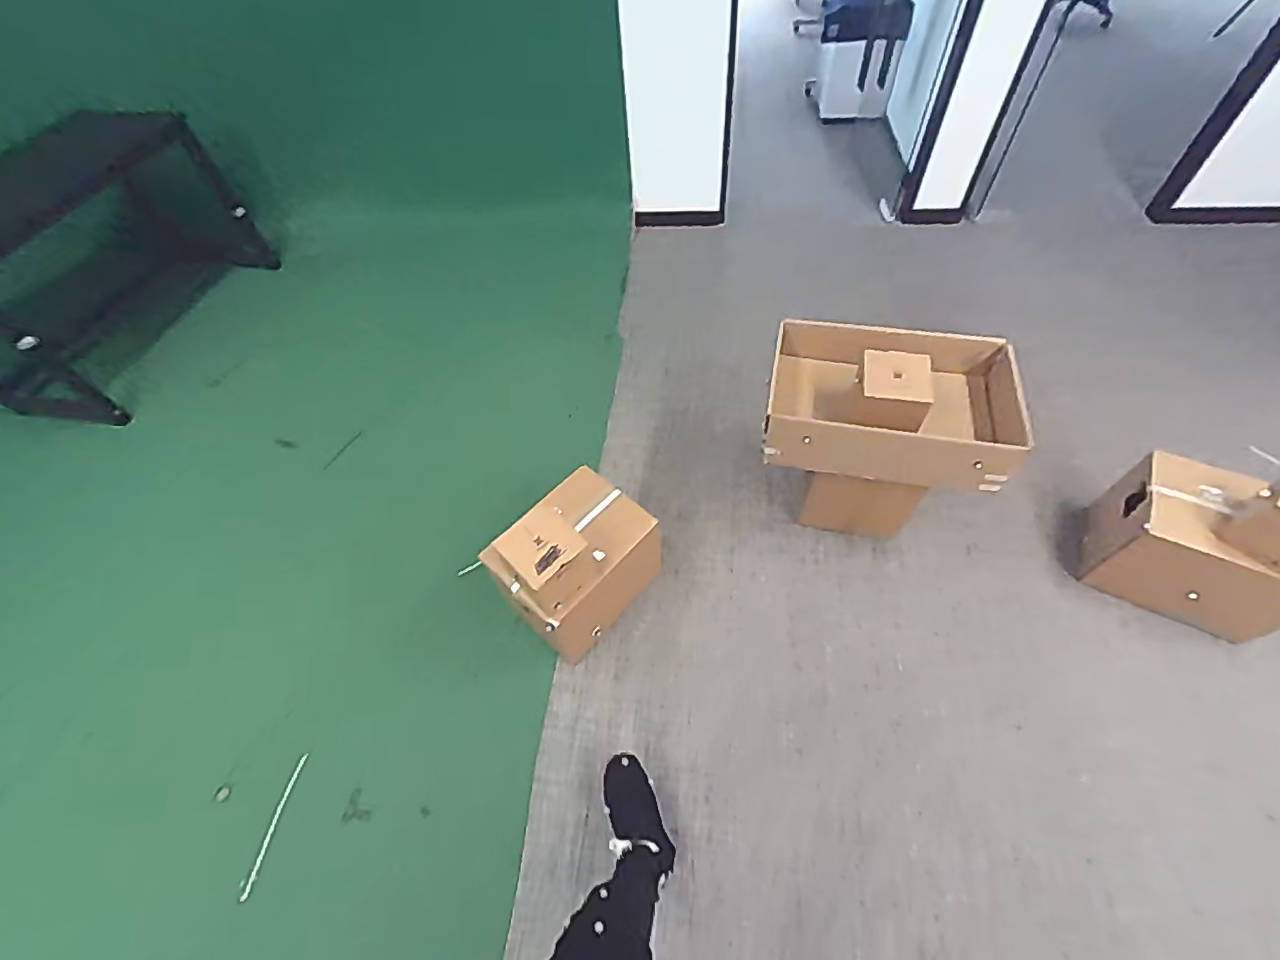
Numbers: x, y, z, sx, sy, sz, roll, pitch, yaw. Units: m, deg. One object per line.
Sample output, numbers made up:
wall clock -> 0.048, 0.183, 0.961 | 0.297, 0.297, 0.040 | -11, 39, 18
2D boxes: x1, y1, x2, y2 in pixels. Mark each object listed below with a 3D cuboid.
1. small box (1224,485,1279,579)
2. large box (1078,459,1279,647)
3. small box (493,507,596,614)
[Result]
small box -> 1.559, 0.113, 1.274 | 0.179, 0.176, 0.168 | -36, 59, -19
large box -> 1.553, 0.204, 1.514 | 0.408, 0.320, 0.320 | 23, 58, 20
small box -> -0.227, 0.206, 1.332 | 0.168, 0.176, 0.179 | -39, 60, -23
